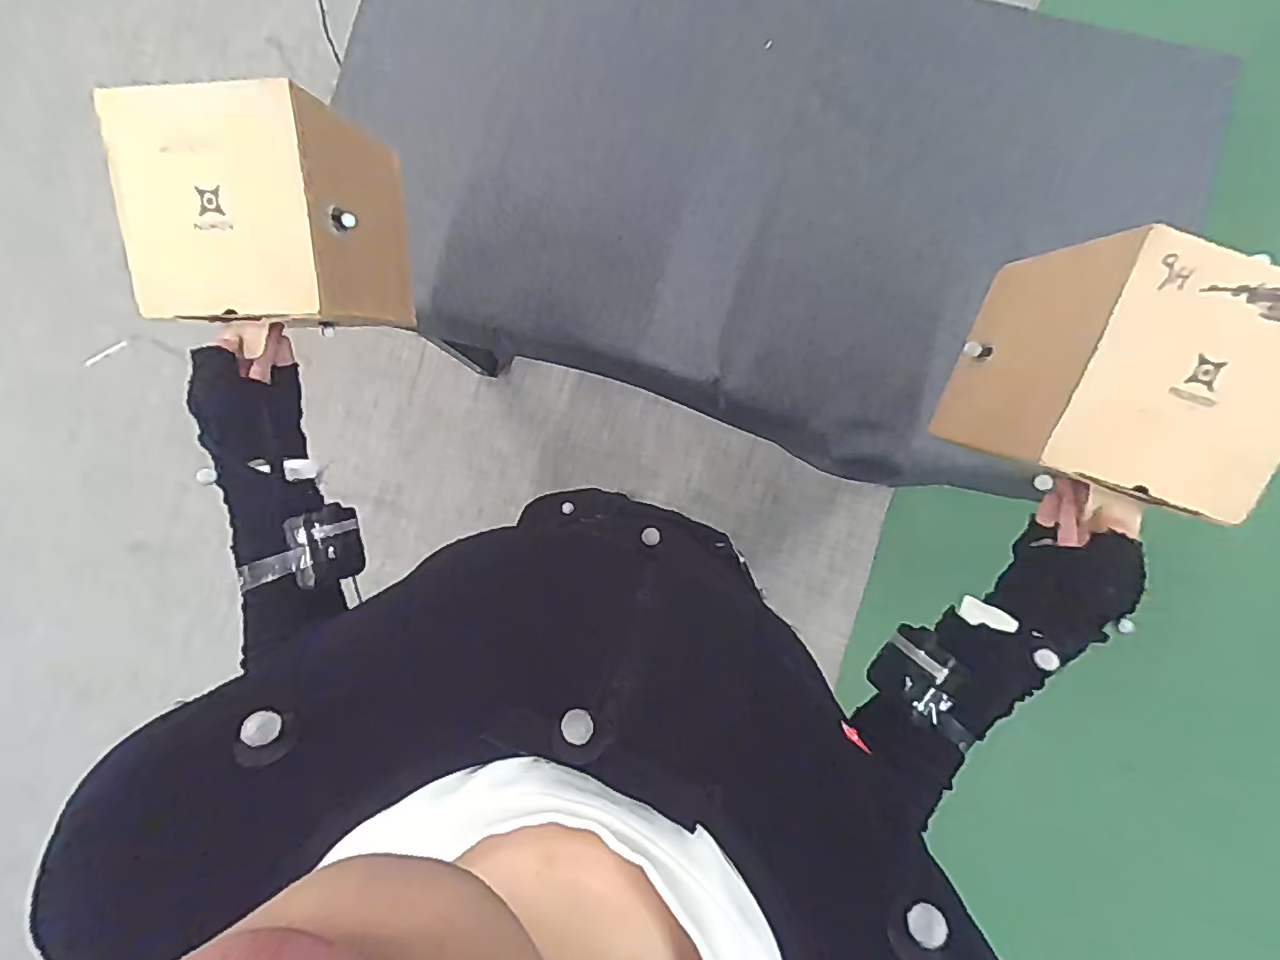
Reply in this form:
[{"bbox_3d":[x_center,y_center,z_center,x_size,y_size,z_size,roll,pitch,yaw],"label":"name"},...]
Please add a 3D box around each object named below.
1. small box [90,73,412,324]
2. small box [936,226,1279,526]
[{"bbox_3d":[-0.335,-0.239,0.508,0.168,0.176,0.179,0,103,5],"label":"small box"},{"bbox_3d":[0.394,-0.087,0.467,0.168,0.176,0.179,18,103,-4],"label":"small box"}]
